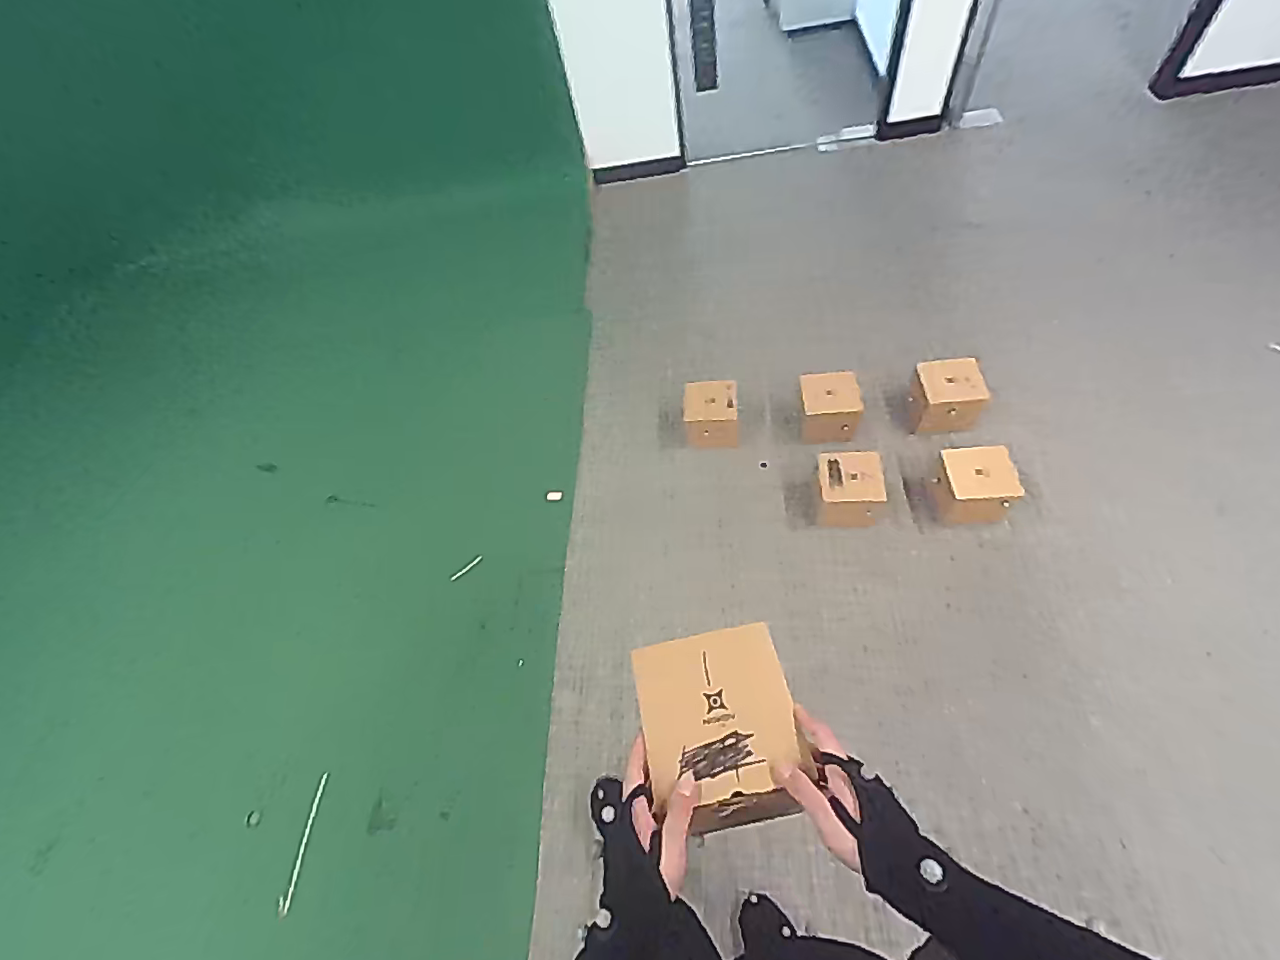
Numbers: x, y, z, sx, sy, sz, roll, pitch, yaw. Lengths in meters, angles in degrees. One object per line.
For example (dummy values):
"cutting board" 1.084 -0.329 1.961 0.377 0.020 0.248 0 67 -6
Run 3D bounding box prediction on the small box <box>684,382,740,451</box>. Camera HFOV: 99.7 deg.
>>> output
"small box" 0.250 -0.211 1.838 0.179 0.176 0.168 -1 59 11

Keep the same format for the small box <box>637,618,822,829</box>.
"small box" 0.099 0.292 0.637 0.168 0.176 0.179 -12 48 1

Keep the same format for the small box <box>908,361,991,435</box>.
"small box" 0.975 -0.256 1.724 0.179 0.176 0.168 -4 59 8

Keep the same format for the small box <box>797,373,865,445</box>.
"small box" 0.622 -0.229 1.777 0.179 0.176 0.168 -4 58 9

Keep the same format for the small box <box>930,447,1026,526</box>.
"small box" 0.961 0.025 1.561 0.179 0.176 0.168 -4 58 7
